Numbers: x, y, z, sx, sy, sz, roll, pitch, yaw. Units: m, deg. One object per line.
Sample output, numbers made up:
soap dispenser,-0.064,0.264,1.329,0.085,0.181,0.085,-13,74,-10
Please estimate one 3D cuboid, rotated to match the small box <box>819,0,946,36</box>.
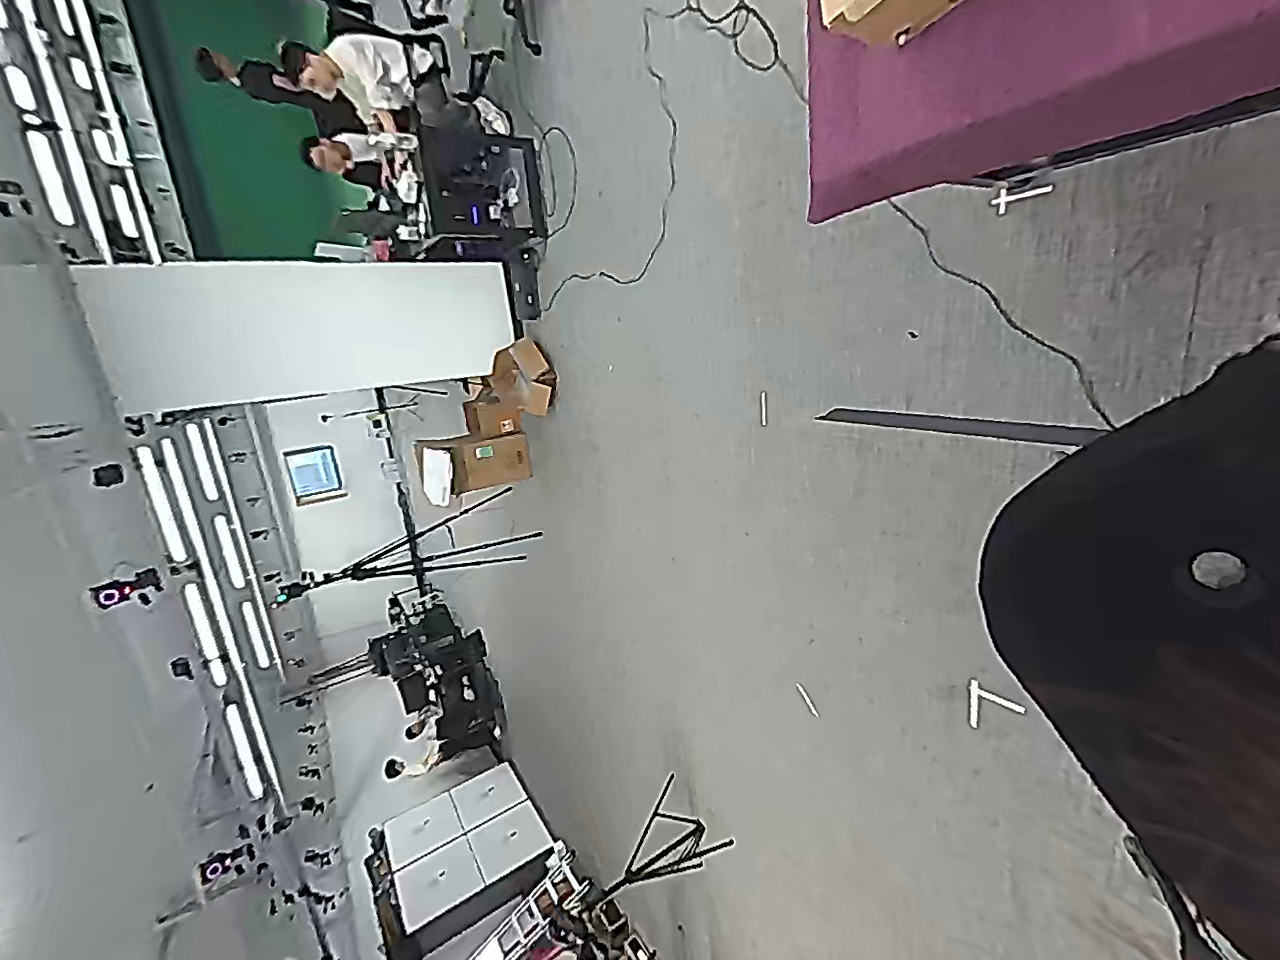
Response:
small box,0.356,-0.749,0.732,0.168,0.176,0.179,1,103,58
